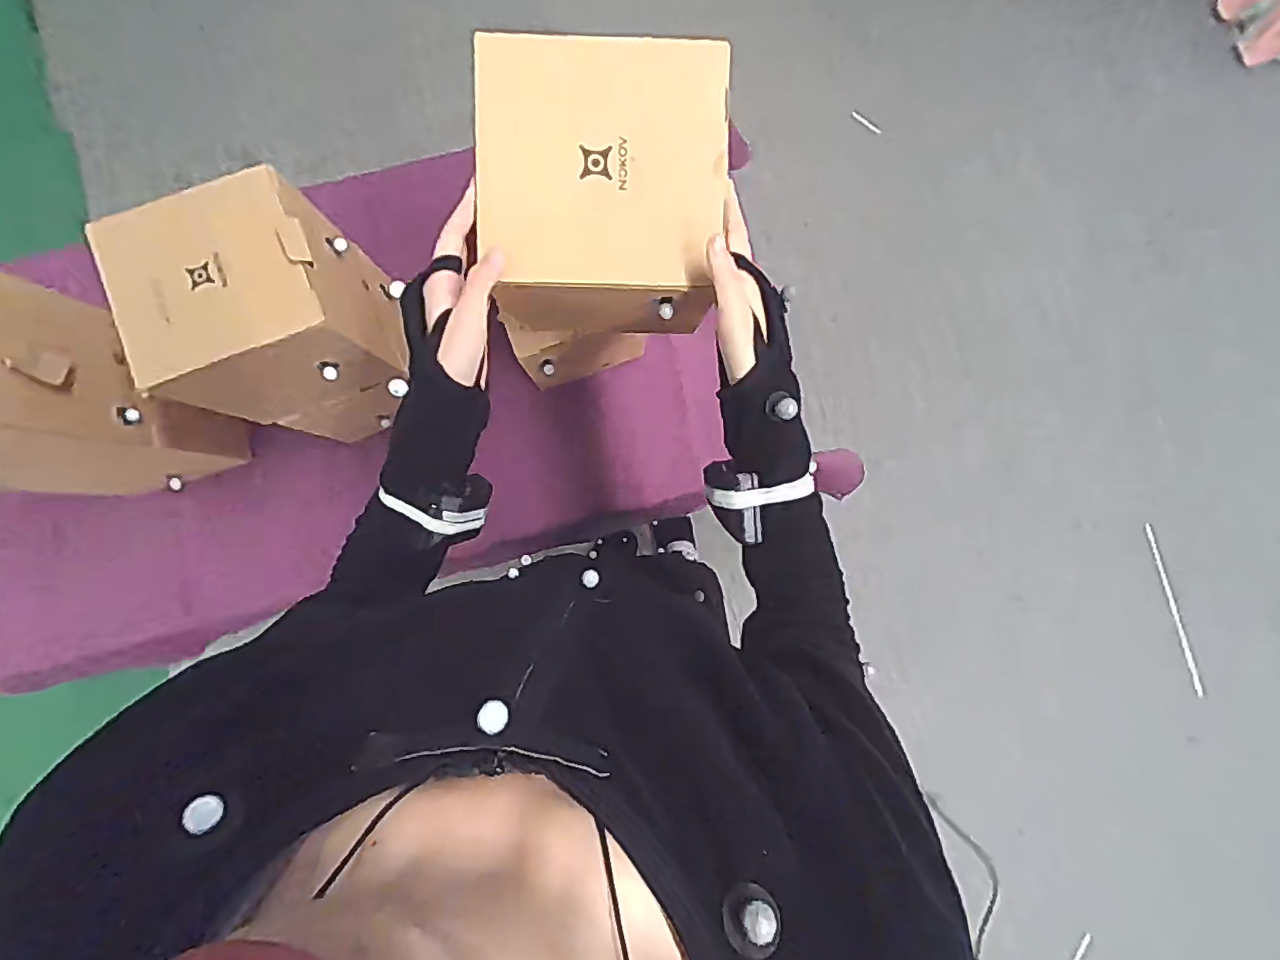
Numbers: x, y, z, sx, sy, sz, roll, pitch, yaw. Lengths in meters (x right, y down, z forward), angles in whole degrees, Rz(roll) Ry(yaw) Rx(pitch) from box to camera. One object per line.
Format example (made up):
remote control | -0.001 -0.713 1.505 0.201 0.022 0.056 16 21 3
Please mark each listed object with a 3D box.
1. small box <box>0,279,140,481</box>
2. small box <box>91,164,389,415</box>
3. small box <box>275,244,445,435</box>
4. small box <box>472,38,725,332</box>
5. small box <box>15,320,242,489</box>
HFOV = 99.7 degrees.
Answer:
small box | -0.677 -0.100 0.561 0.179 0.176 0.168 -17 87 -1
small box | -0.394 -0.183 0.571 0.179 0.176 0.168 -21 86 -1
small box | -0.393 -0.177 0.734 0.168 0.176 0.179 -22 88 -1
small box | -0.031 -0.224 0.457 0.179 0.176 0.168 1 94 -2
small box | -0.680 -0.090 0.726 0.179 0.176 0.168 -17 87 -2
